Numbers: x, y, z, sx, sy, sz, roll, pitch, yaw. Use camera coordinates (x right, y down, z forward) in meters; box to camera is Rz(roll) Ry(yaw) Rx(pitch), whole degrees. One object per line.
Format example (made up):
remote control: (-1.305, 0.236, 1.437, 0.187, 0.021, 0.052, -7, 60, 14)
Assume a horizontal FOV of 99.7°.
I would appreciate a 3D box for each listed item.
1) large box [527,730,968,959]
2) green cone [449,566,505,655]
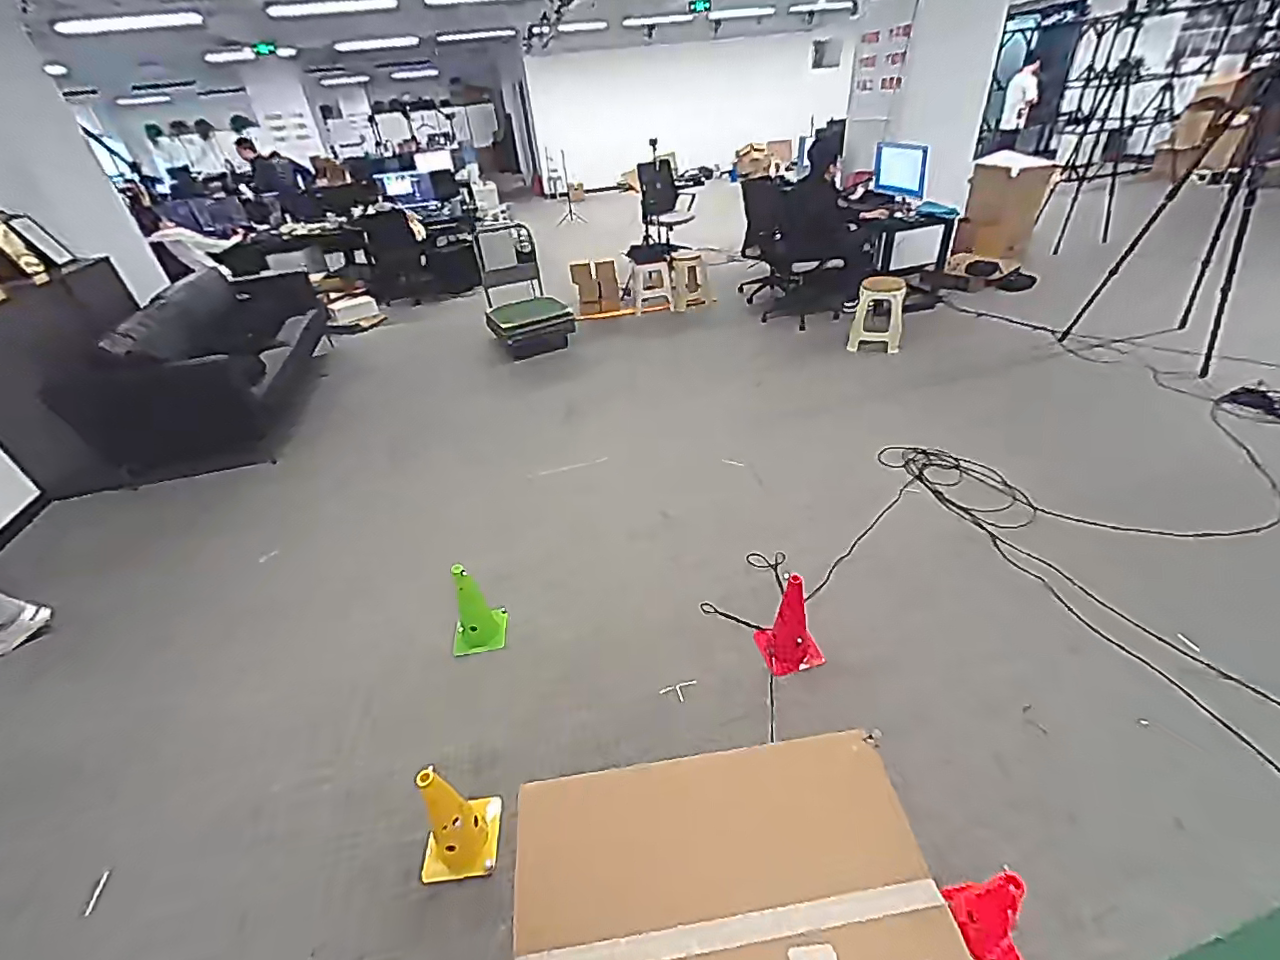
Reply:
large box: (0.098, 0.532, 0.611, 0.408, 0.320, 0.320, -8, 44, -4)
green cone: (-0.654, 0.461, 2.047, 0.200, 0.368, 0.202, -10, 37, -4)
